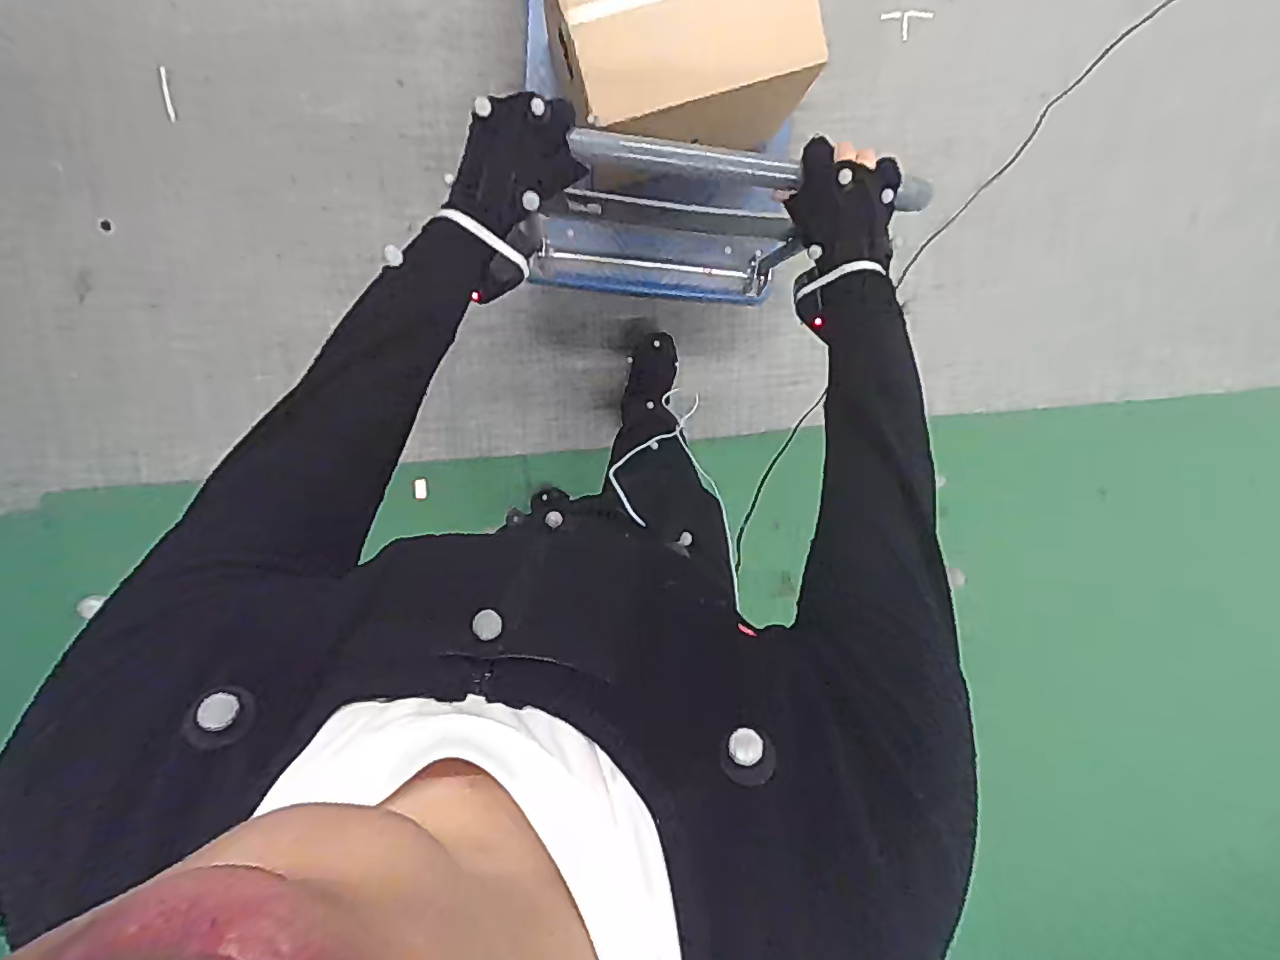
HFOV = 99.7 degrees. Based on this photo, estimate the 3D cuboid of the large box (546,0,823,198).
[{"bbox_3d":[0.064,-0.788,1.012,0.408,0.320,0.320,-18,100,-1],"label":"large box"}]
